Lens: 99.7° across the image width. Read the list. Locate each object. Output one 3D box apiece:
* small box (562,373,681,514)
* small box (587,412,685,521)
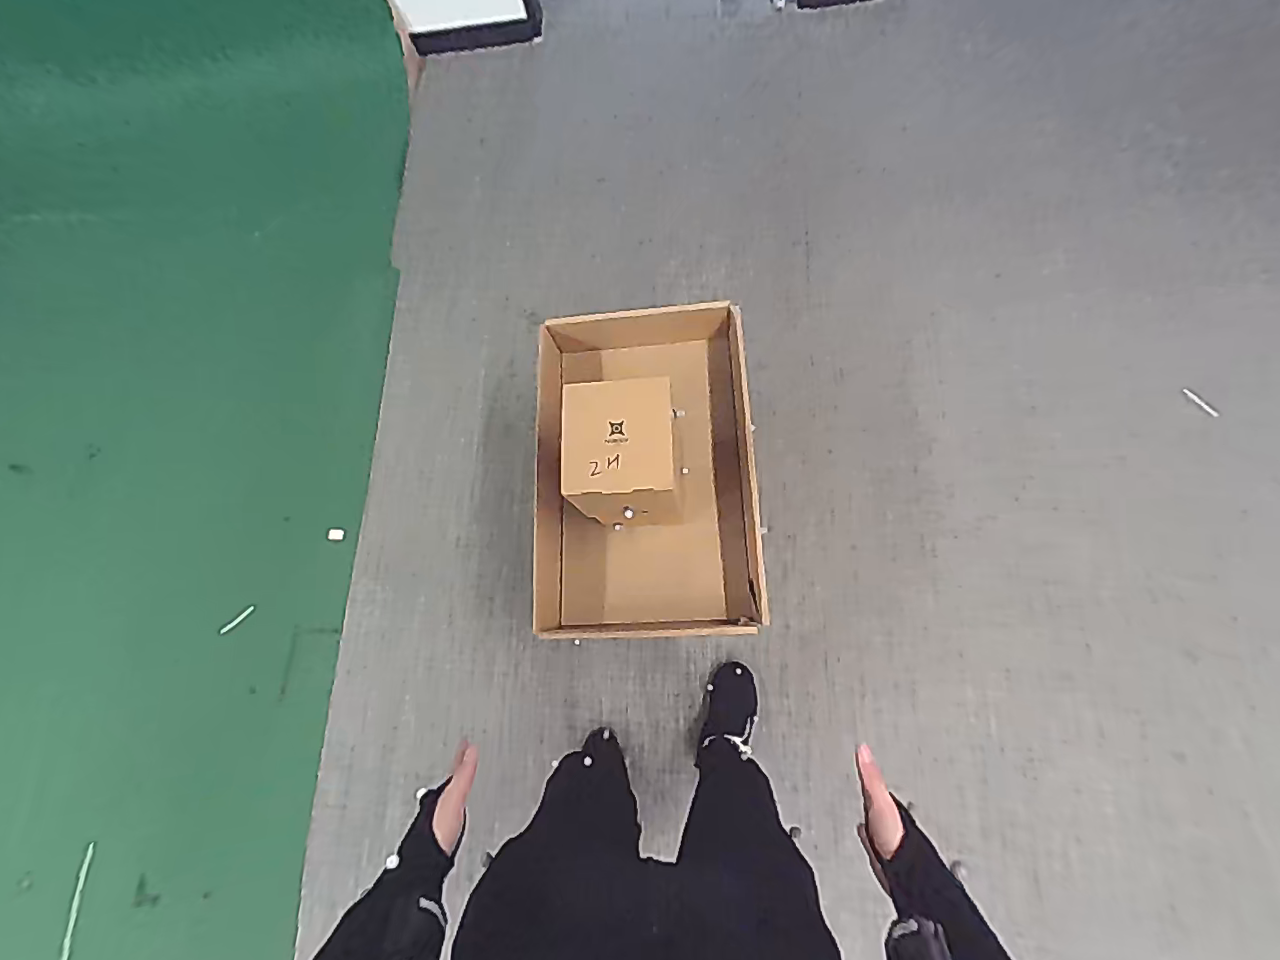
[{"bbox_3d":[-0.022,-0.050,0.859,0.168,0.176,0.179,-3,75,7],"label":"small box"},{"bbox_3d":[-0.002,-0.019,1.020,0.168,0.176,0.179,-2,75,7],"label":"small box"}]
